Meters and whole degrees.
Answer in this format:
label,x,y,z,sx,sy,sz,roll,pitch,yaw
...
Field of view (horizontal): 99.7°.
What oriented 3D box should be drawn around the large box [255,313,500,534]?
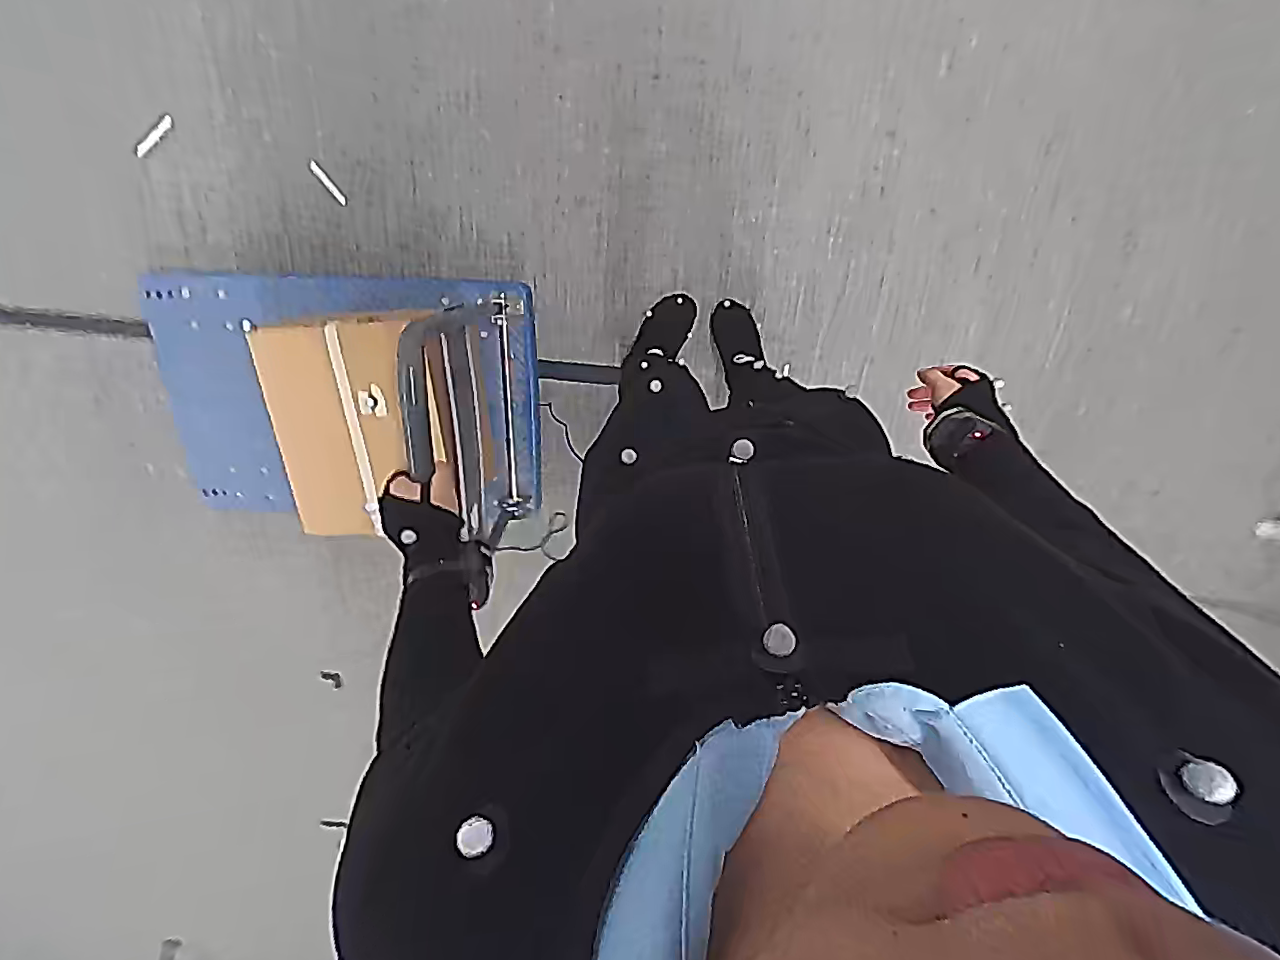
label,x,y,z,sx,sy,sz,roll,pitch,yaw
large box,-0.510,-0.133,1.148,0.320,0.320,0.408,-2,110,1
